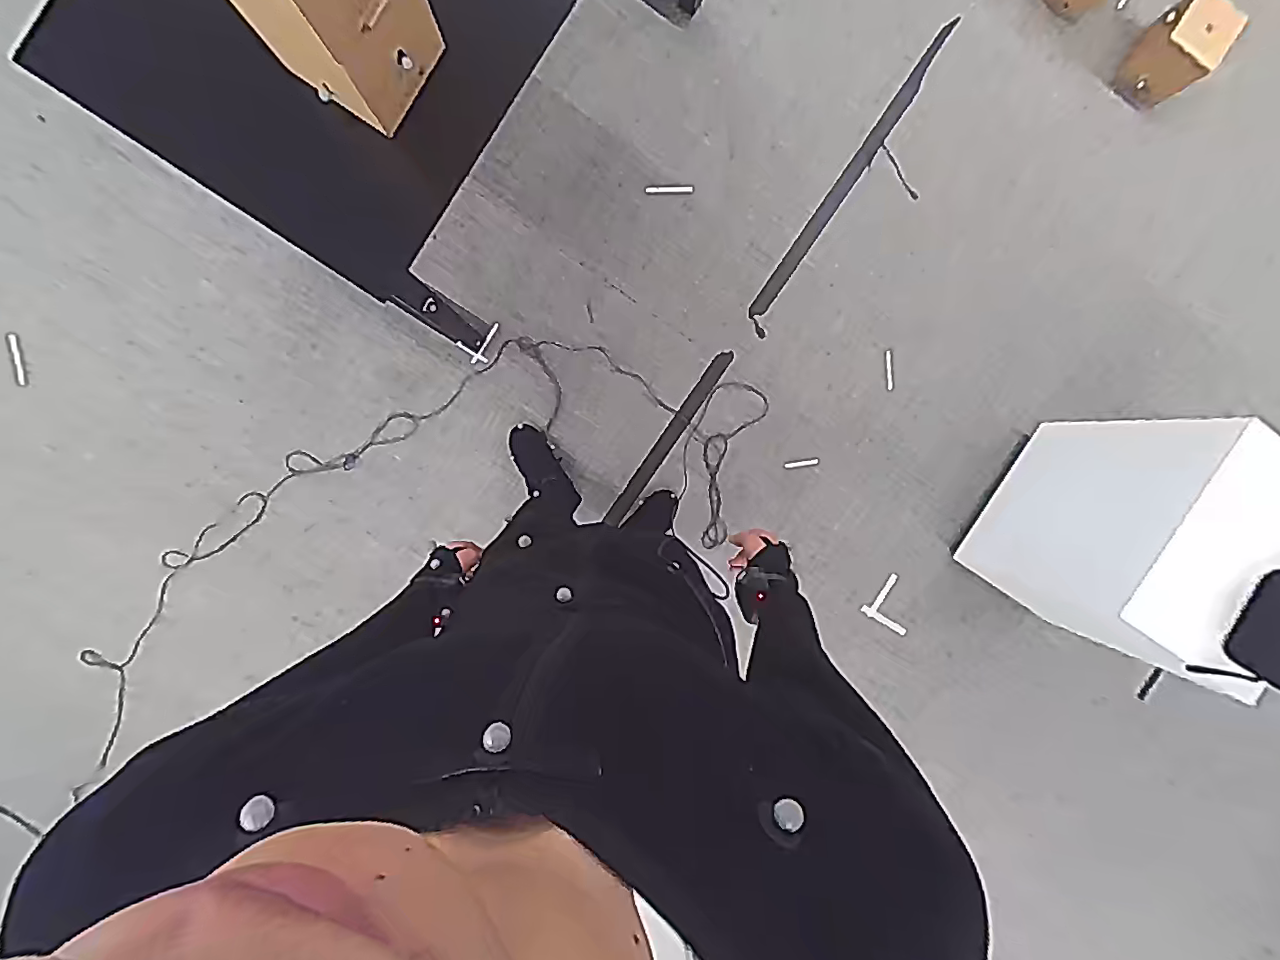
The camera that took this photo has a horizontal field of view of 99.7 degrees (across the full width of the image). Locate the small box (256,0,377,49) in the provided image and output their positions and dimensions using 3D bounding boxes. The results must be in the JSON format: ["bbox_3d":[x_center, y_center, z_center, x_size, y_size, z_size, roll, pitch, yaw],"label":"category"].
[{"bbox_3d":[-0.388,-0.617,0.566,0.179,0.176,0.168,32,92,-7],"label":"small box"}]

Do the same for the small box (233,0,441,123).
[{"bbox_3d":[-0.400,-0.630,0.731,0.179,0.176,0.168,32,92,-7],"label":"small box"}]

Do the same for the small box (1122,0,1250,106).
[{"bbox_3d":[1.575,-1.252,1.572,0.168,0.176,0.179,32,93,-5],"label":"small box"}]
